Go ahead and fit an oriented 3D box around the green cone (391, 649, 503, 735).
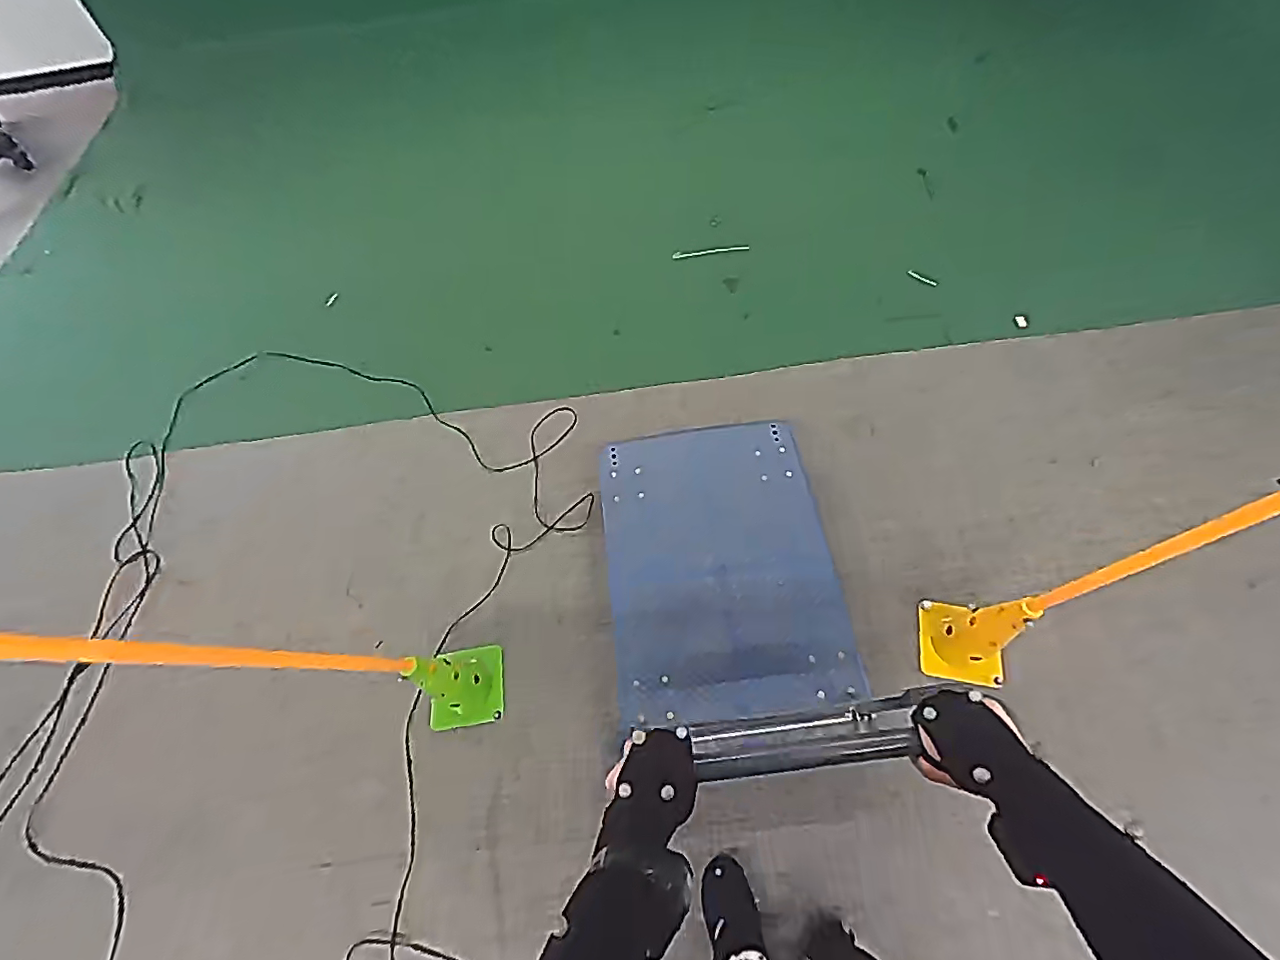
[{"bbox_3d":[-0.496,0.495,1.328,0.202,0.368,0.200,-11,61,2],"label":"green cone"}]
